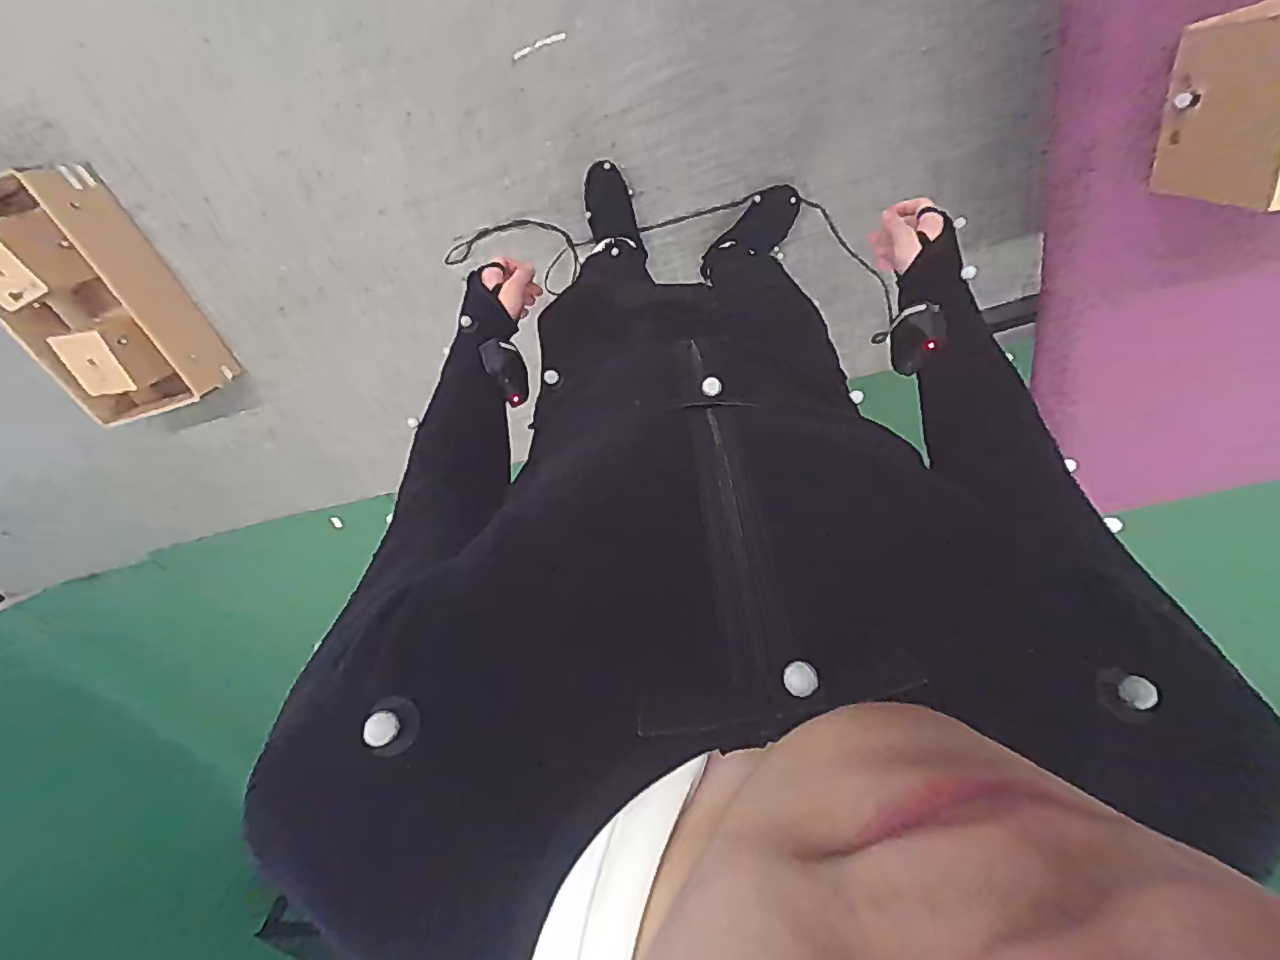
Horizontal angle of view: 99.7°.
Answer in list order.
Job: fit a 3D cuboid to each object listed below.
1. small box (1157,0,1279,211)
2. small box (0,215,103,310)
[{"bbox_3d":[0.678,-0.386,0.527,0.179,0.176,0.168,-12,123,12],"label":"small box"},{"bbox_3d":[-1.597,-0.576,1.415,0.168,0.176,0.179,-16,123,15],"label":"small box"}]
